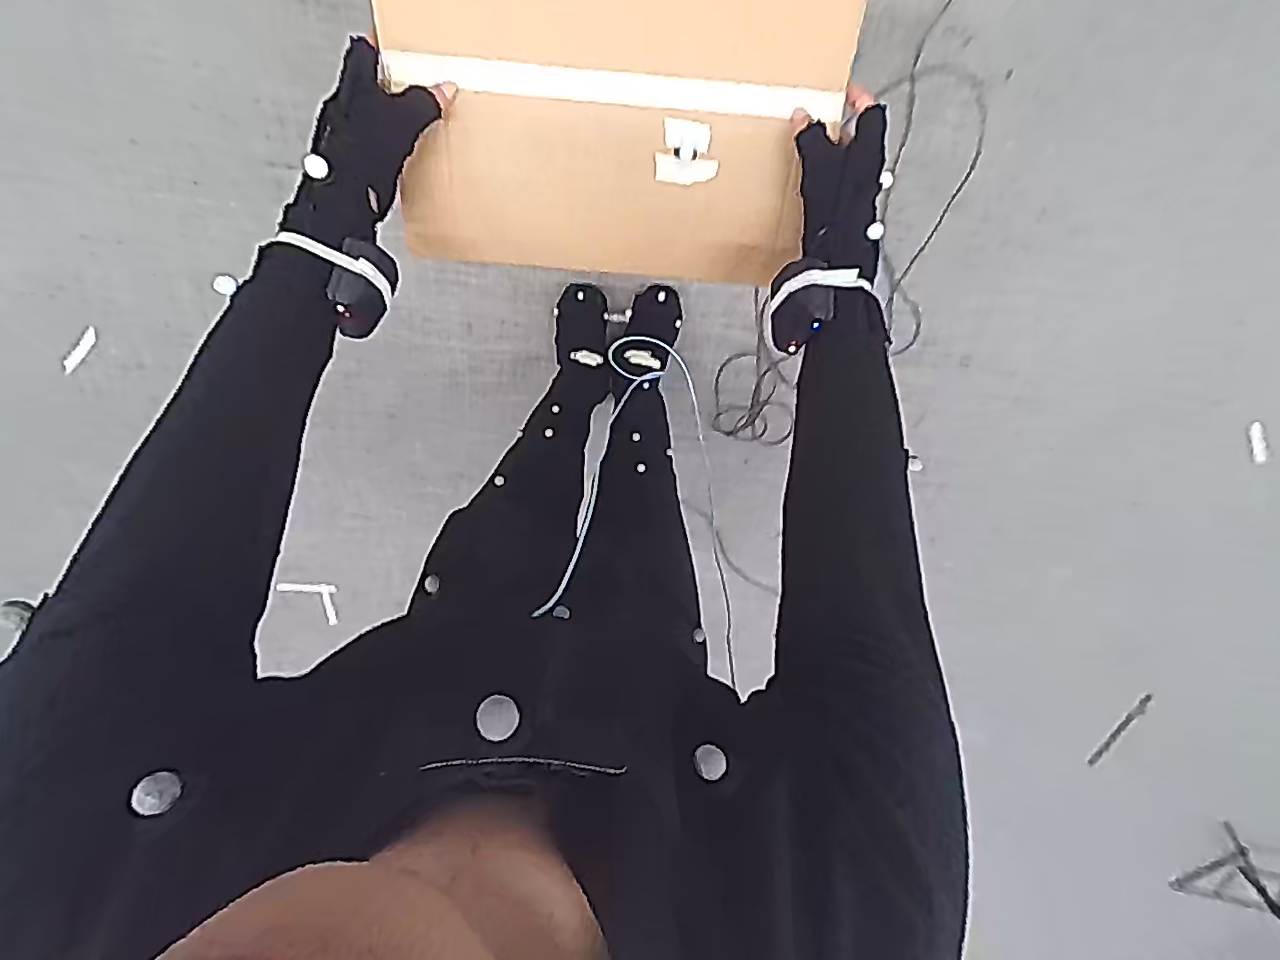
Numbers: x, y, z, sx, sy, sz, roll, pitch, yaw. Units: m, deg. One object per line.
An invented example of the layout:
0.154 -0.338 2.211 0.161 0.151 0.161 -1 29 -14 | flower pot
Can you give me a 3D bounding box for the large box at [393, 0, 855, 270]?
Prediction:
-0.021 -0.442 0.619 0.408 0.320 0.320 4 122 -3 | large box
